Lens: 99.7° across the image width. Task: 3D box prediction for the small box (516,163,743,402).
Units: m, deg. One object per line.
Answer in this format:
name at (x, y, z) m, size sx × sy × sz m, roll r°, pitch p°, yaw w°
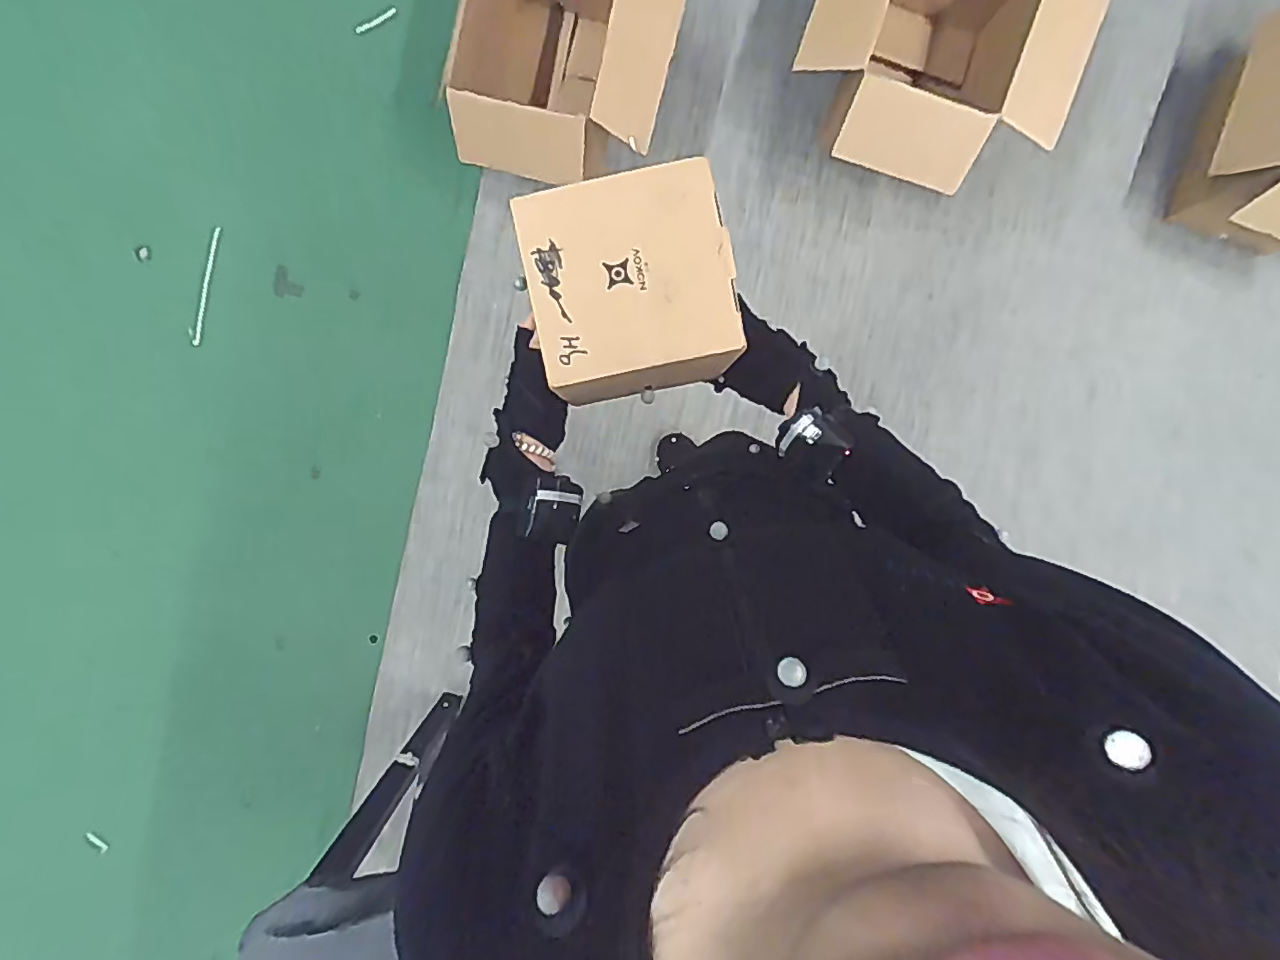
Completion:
small box at (-0.010, -0.181, 0.546) m, size 0.179 × 0.176 × 0.168 m, roll -11°, pitch 91°, yaw 0°
